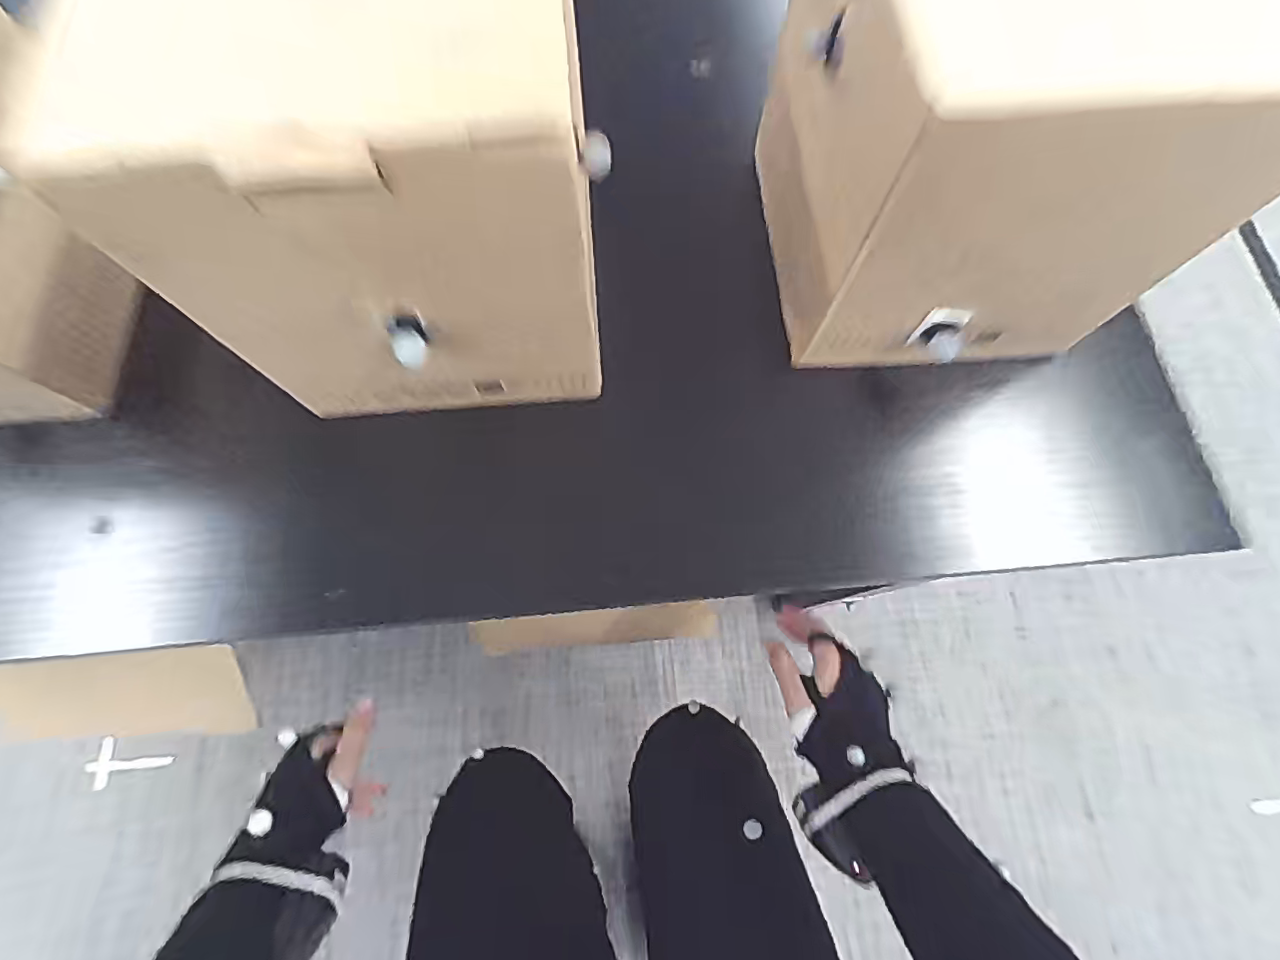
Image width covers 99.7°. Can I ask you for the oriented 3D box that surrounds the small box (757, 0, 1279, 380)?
[{"bbox_3d":[0.166,-0.173,0.285,0.168,0.176,0.179,-4,72,-1],"label":"small box"}]

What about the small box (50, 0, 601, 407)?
[{"bbox_3d":[-0.110,-0.146,0.271,0.168,0.176,0.179,-5,72,-2],"label":"small box"}]

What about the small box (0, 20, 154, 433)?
[{"bbox_3d":[-0.385,-0.134,0.261,0.168,0.176,0.179,-4,72,-2],"label":"small box"}]
